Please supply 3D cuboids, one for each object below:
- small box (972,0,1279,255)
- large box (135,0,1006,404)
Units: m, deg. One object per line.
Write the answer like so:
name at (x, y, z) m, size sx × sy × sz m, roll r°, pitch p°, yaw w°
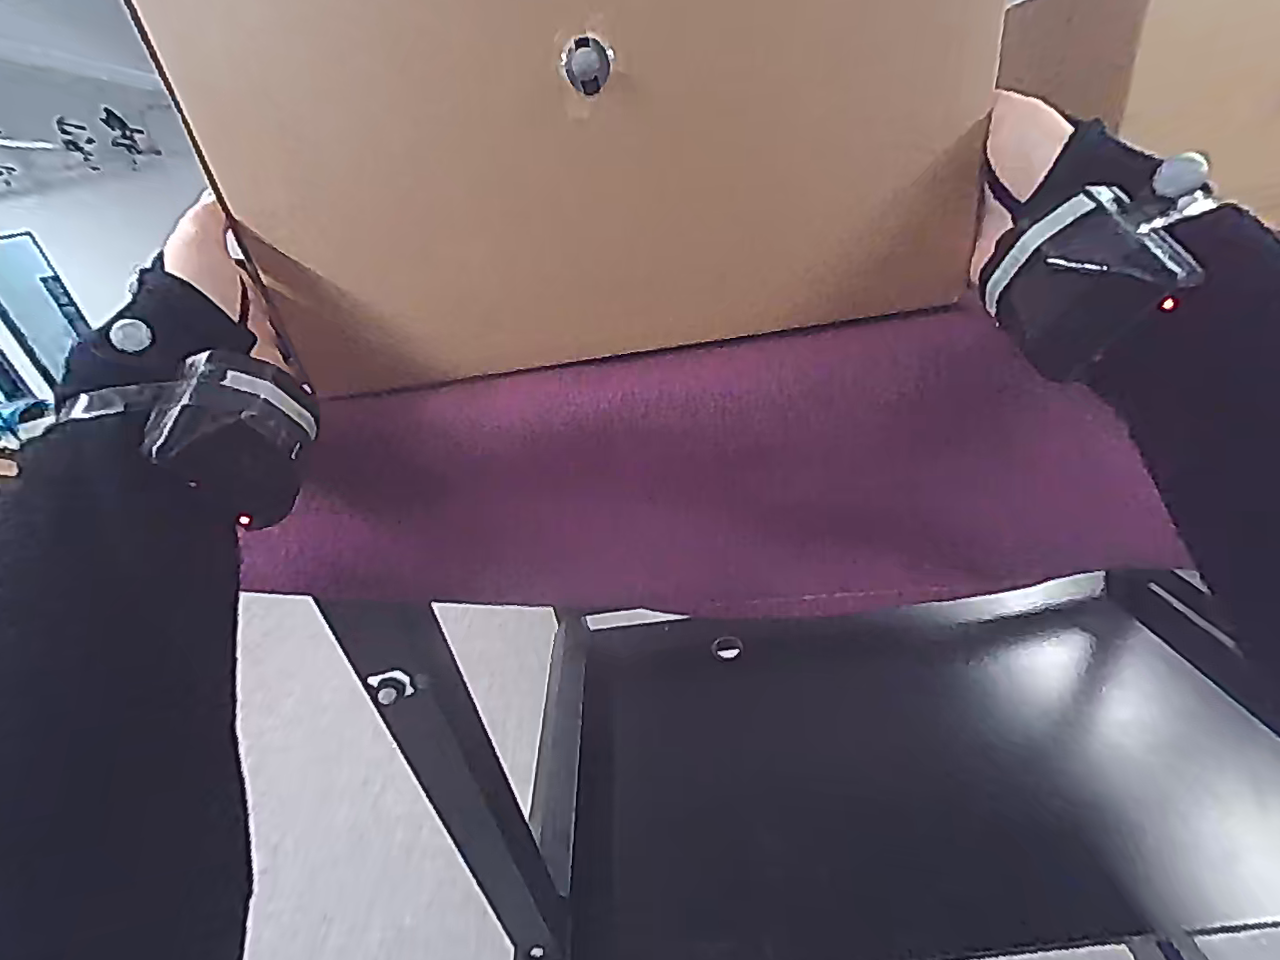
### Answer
small box at (0.362, -0.274, 0.394) m, size 0.179 × 0.176 × 0.168 m, roll -12°, pitch 28°, yaw -2°
large box at (-0.029, -0.278, 0.387) m, size 0.408 × 0.320 × 0.320 m, roll -9°, pitch 28°, yaw 3°
